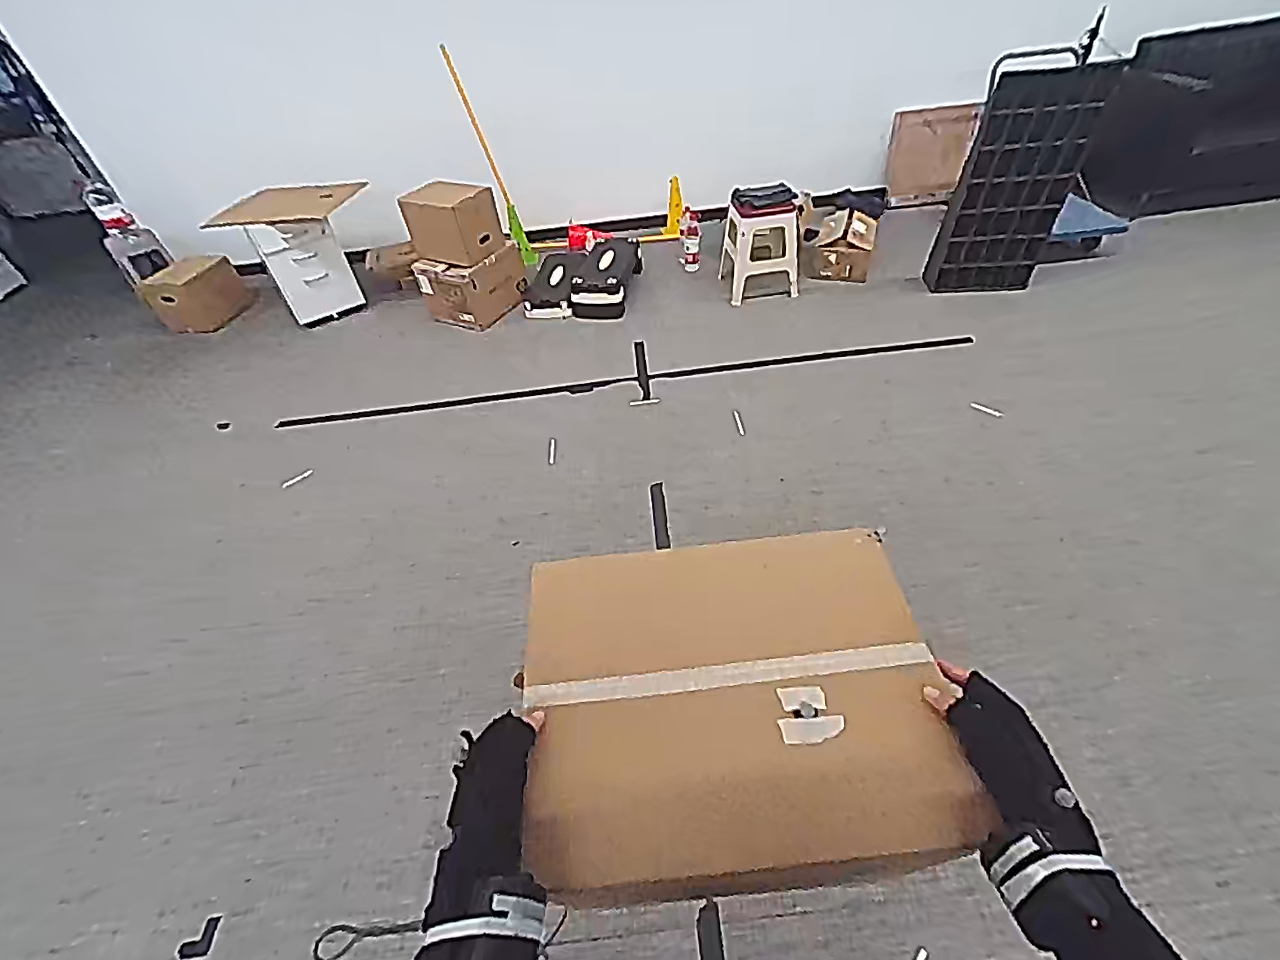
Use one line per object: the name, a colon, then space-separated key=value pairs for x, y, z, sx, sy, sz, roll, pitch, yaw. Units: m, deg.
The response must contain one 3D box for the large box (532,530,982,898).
large box: x=0.097 y=0.295 z=0.672 sx=0.408 sy=0.320 sz=0.320 roll=-6 pitch=50 yaw=0
